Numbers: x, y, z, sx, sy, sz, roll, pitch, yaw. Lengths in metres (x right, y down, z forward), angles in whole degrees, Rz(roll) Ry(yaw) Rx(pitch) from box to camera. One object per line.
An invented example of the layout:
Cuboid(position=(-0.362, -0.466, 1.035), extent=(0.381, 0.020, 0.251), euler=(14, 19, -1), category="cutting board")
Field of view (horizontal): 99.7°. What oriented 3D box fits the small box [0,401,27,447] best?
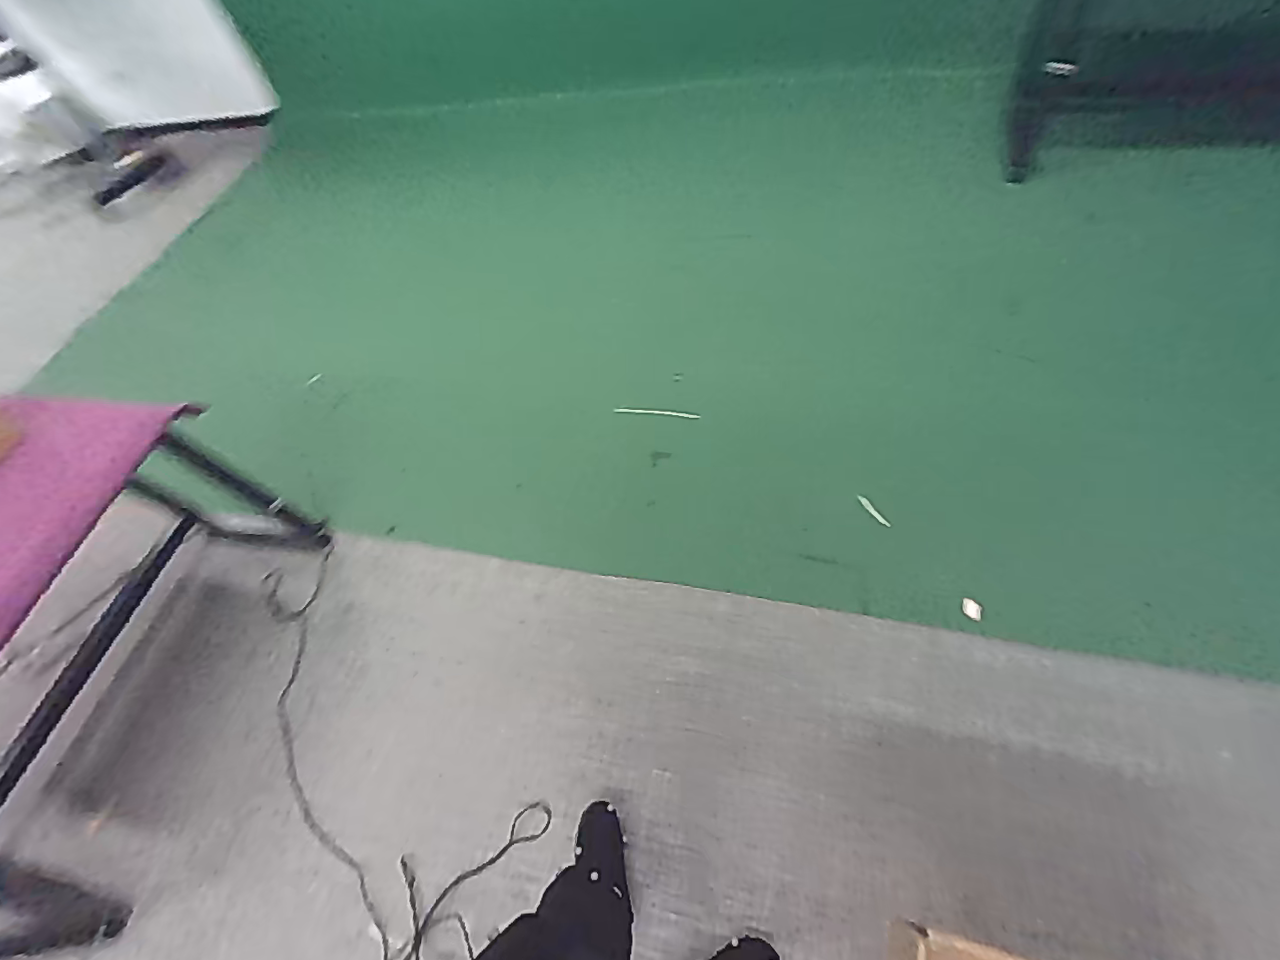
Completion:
Cuboid(position=(-1.695, -0.149, 1.321), extent=(0.179, 0.176, 0.168), euler=(9, 61, 13), category="small box")
